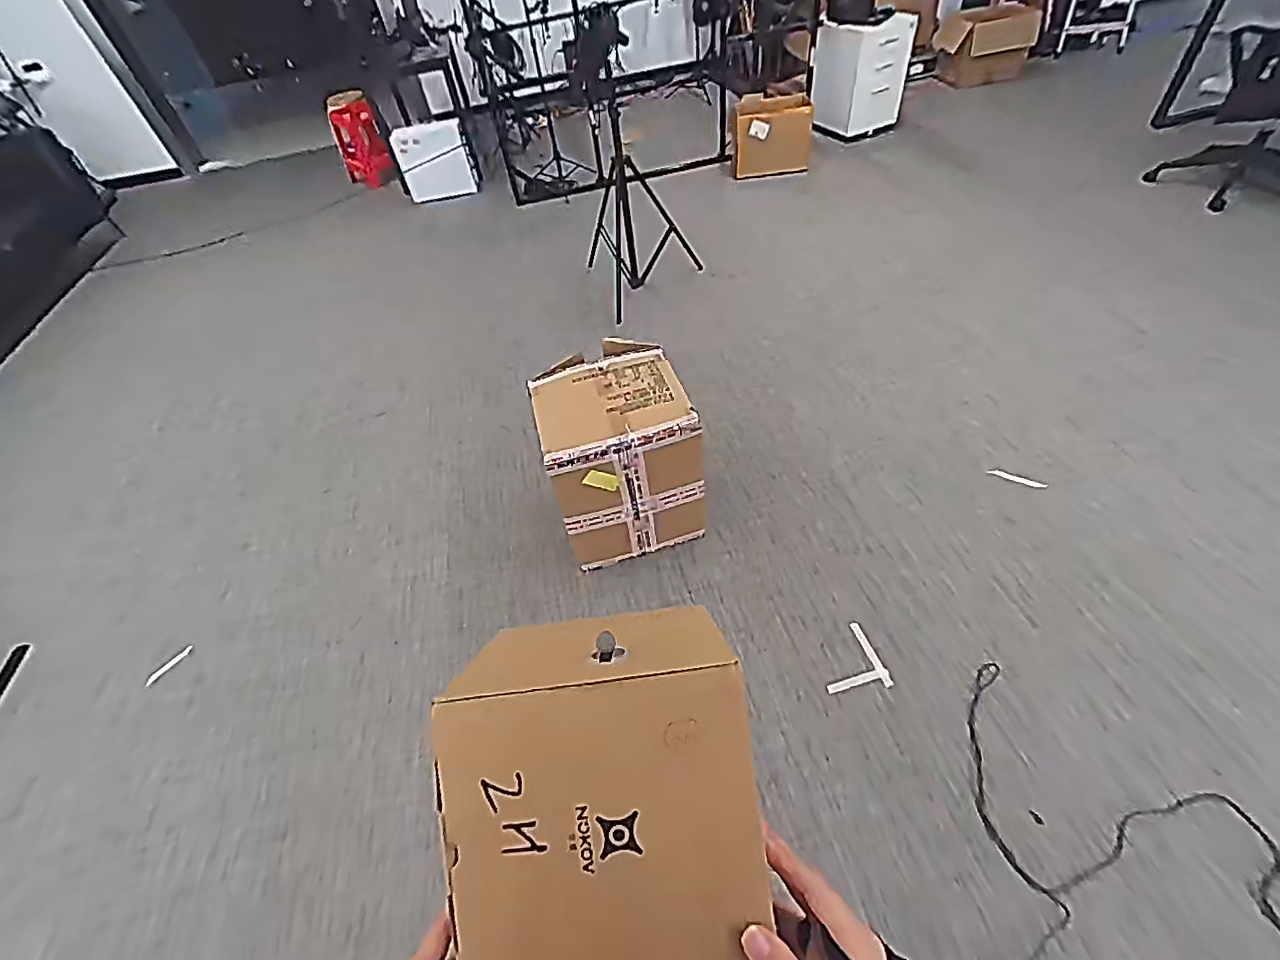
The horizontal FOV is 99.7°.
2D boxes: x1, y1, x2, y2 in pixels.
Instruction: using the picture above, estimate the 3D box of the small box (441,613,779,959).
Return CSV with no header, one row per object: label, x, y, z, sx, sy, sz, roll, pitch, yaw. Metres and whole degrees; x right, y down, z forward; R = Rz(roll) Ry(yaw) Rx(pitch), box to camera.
small box,-0.019,0.198,0.380,0.179,0.176,0.168,-7,87,-1
